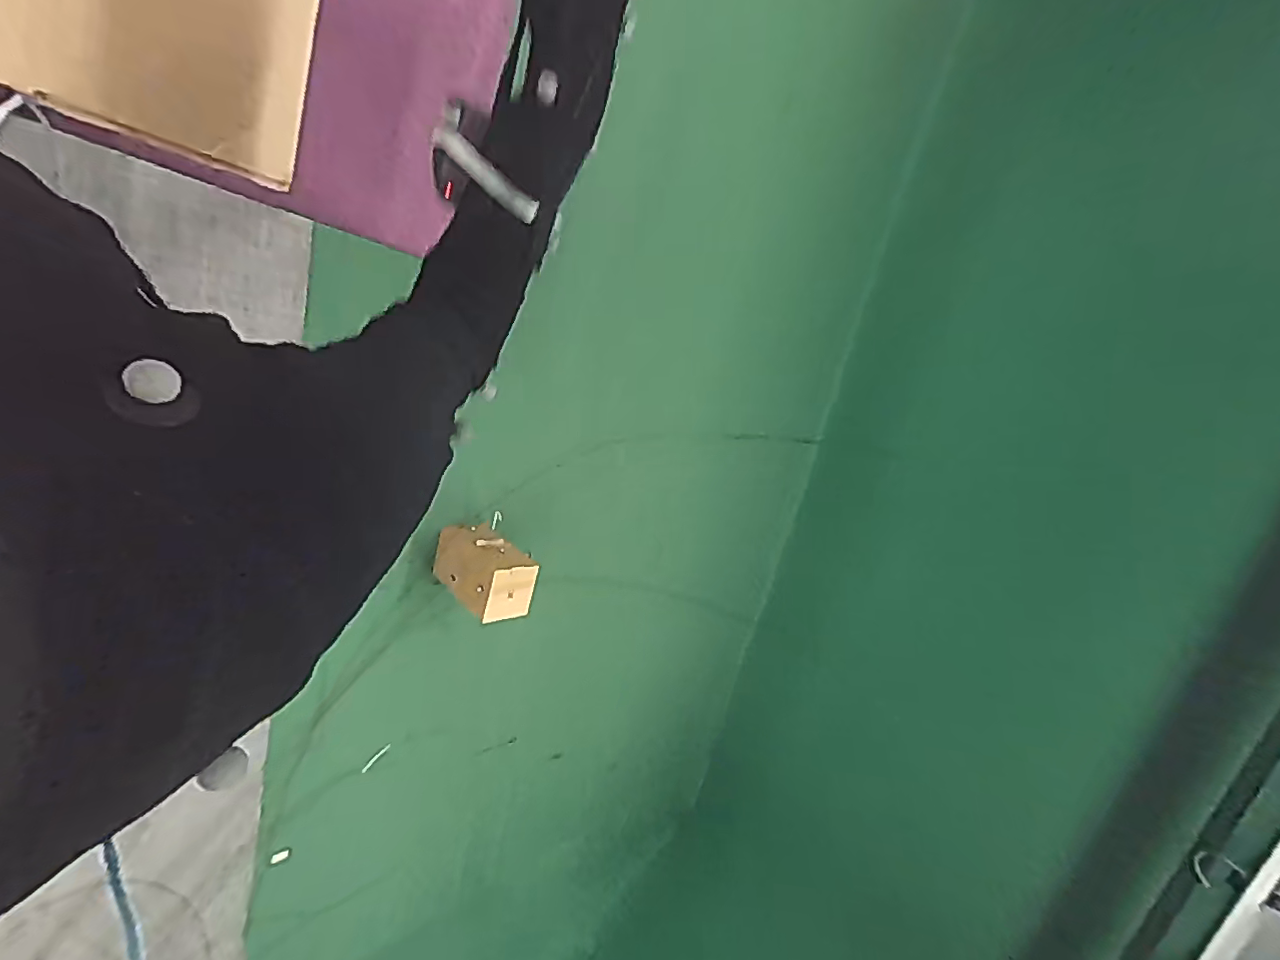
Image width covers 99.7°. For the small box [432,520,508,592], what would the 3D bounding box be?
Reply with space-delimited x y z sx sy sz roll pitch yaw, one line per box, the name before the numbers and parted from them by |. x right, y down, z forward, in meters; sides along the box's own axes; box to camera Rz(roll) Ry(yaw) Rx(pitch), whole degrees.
small box | -0.571 0.248 1.802 0.168 0.176 0.179 0 110 -50

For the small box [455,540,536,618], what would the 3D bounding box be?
small box | -0.459 0.305 1.697 0.168 0.176 0.179 2 109 -50
